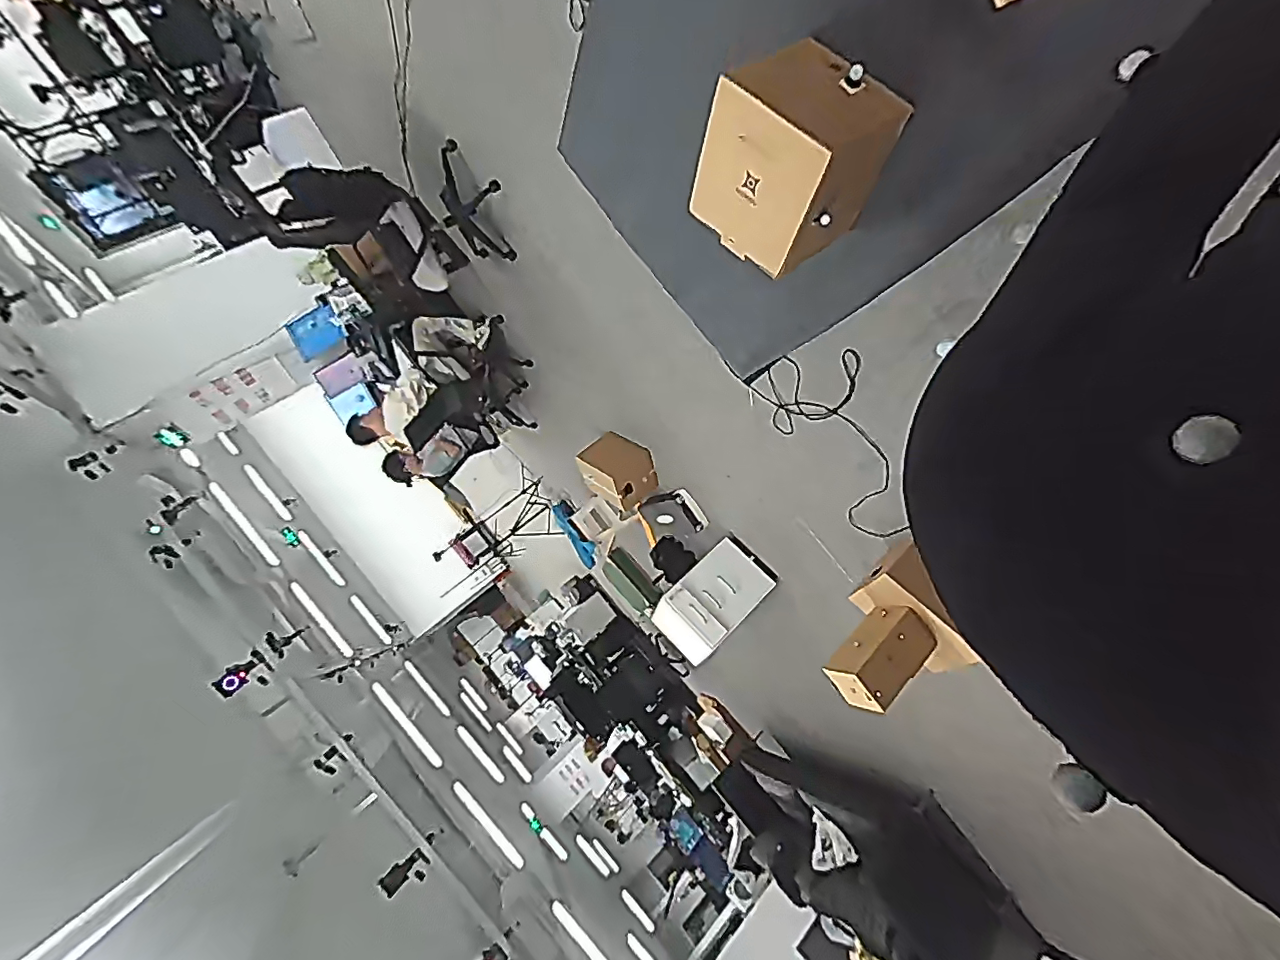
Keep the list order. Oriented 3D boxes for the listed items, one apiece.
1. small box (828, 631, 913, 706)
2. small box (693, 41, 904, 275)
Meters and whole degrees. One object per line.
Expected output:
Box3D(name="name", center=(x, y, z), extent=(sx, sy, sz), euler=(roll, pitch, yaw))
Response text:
Box3D(name="small box", center=(0.799, 0.646, 1.876), extent=(0.168, 0.176, 0.179), euler=(51, 159, -3))
Box3D(name="small box", center=(0.197, -0.410, 0.693), extent=(0.168, 0.176, 0.179), euler=(44, 155, 14))
